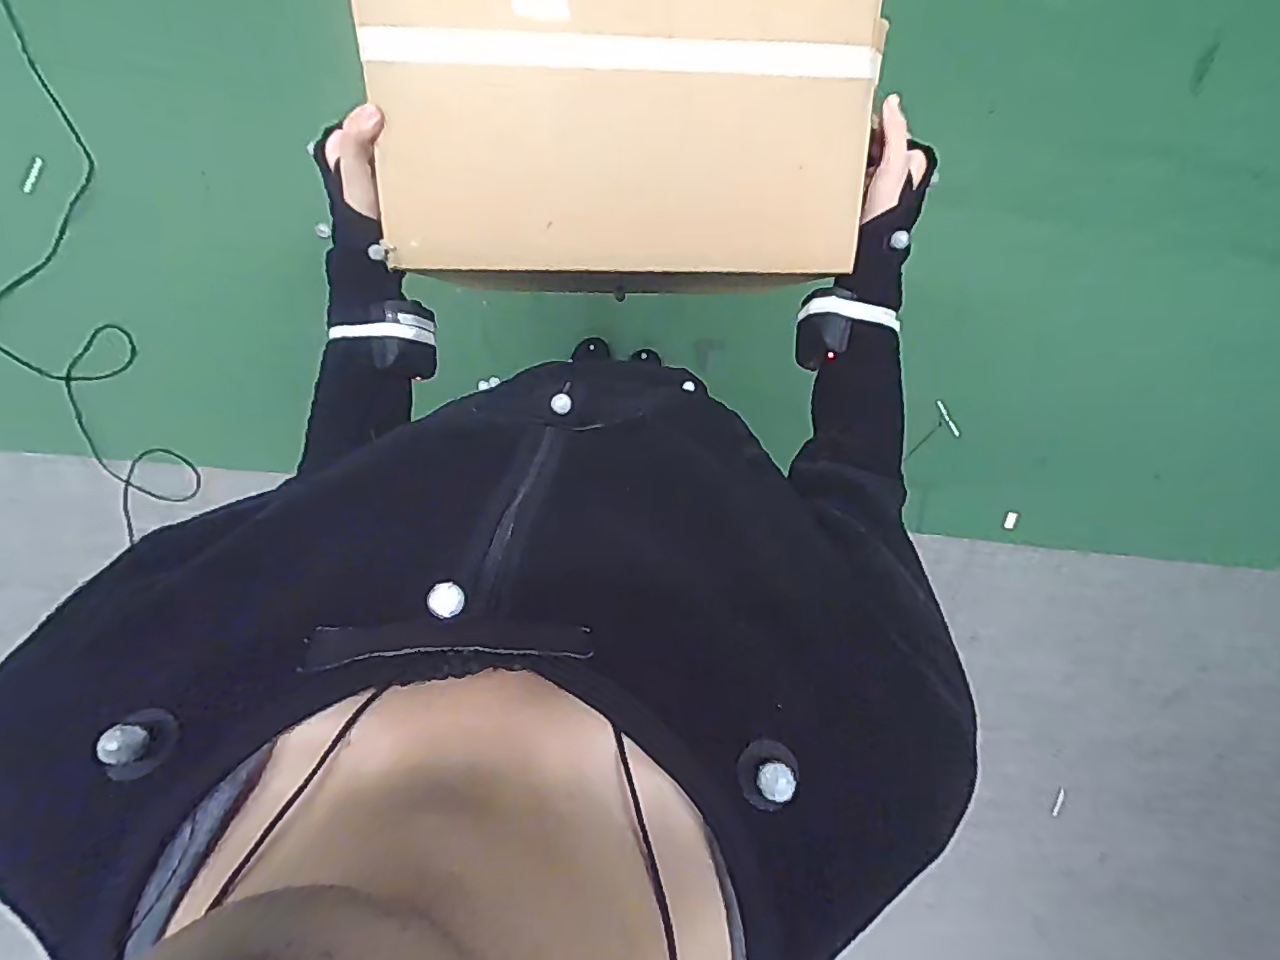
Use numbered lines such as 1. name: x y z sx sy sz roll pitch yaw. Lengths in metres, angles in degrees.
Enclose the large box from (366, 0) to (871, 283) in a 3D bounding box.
1. large box: -0.021 -0.380 0.577 0.408 0.320 0.320 -1 106 -4
